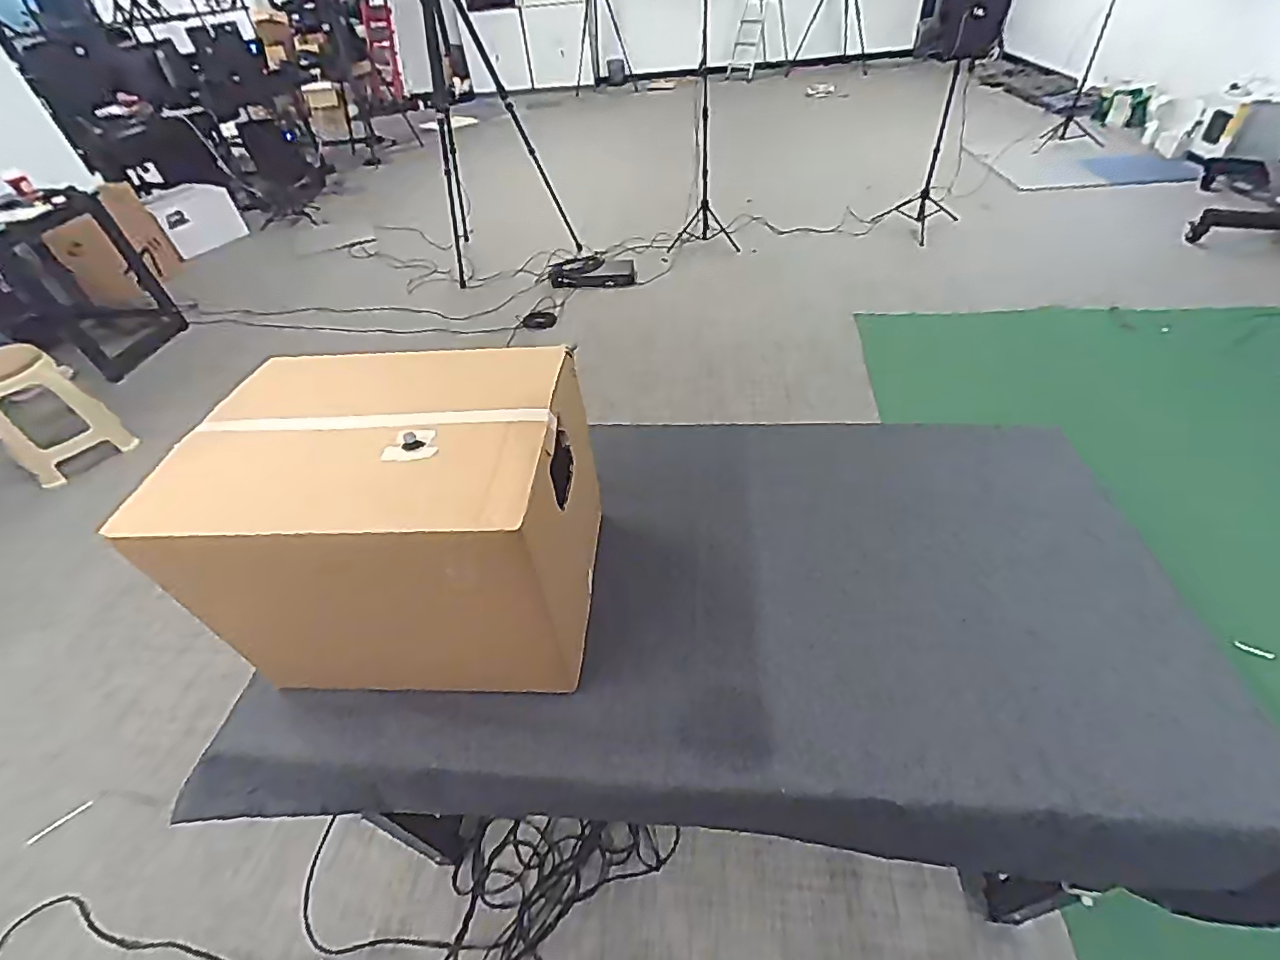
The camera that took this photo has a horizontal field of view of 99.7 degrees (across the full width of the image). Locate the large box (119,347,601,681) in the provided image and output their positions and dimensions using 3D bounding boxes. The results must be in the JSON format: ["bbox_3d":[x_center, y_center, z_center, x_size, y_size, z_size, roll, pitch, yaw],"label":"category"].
[{"bbox_3d":[-0.275,0.045,0.697,0.408,0.320,0.320,0,44,4],"label":"large box"}]
